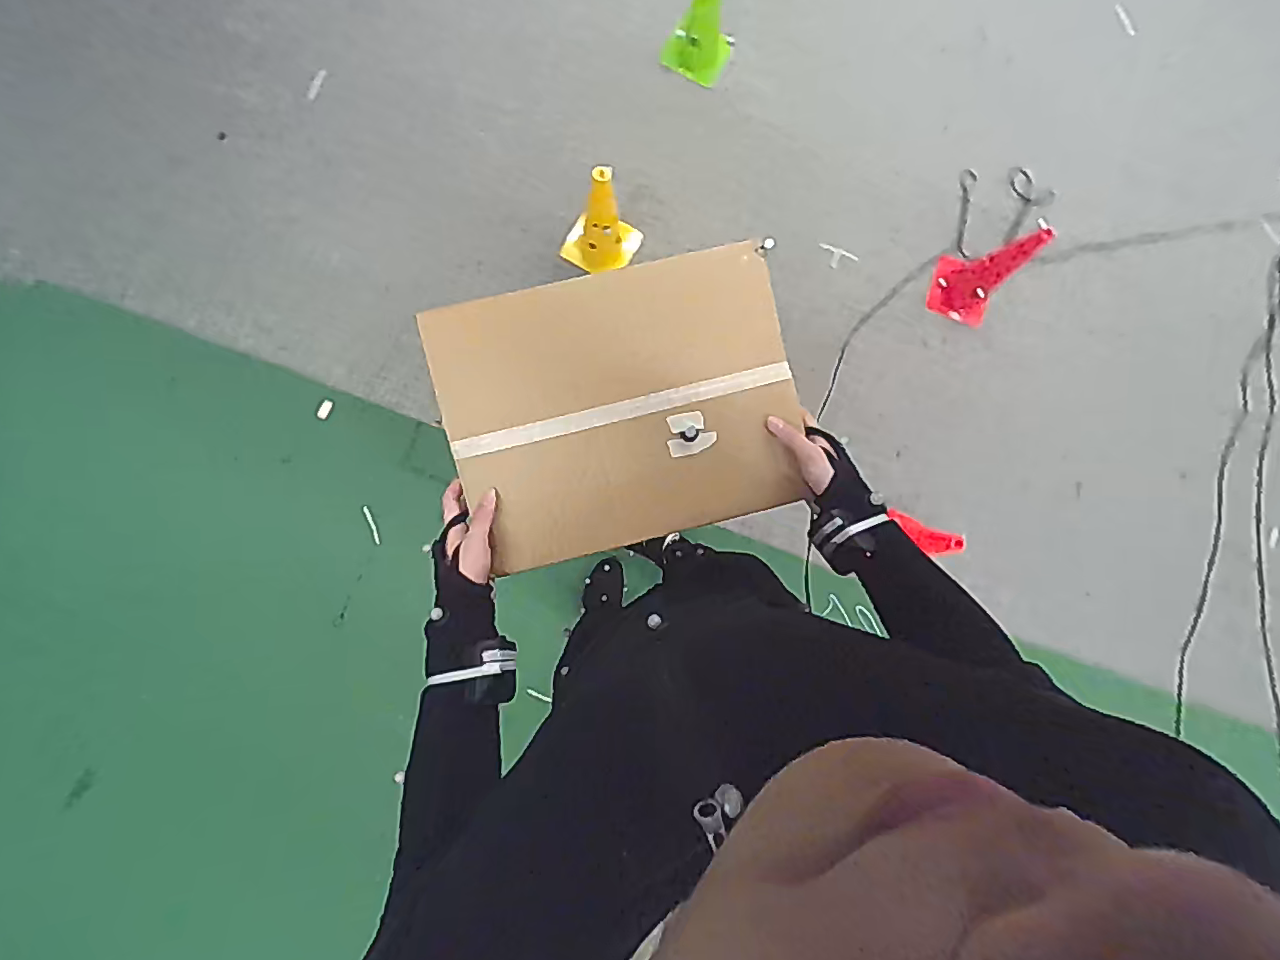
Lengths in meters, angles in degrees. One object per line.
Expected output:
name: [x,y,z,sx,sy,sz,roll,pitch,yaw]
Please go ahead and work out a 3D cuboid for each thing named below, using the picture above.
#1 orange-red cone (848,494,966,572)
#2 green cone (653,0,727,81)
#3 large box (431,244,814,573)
orange-red cone: [0.791,0.157,1.536,0.199,0.360,0.198,27,85,-3]
green cone: [0.175,-1.450,1.617,0.200,0.368,0.202,25,85,-2]
large box: [-0.026,-0.092,0.785,0.408,0.320,0.320,-14,96,-4]
